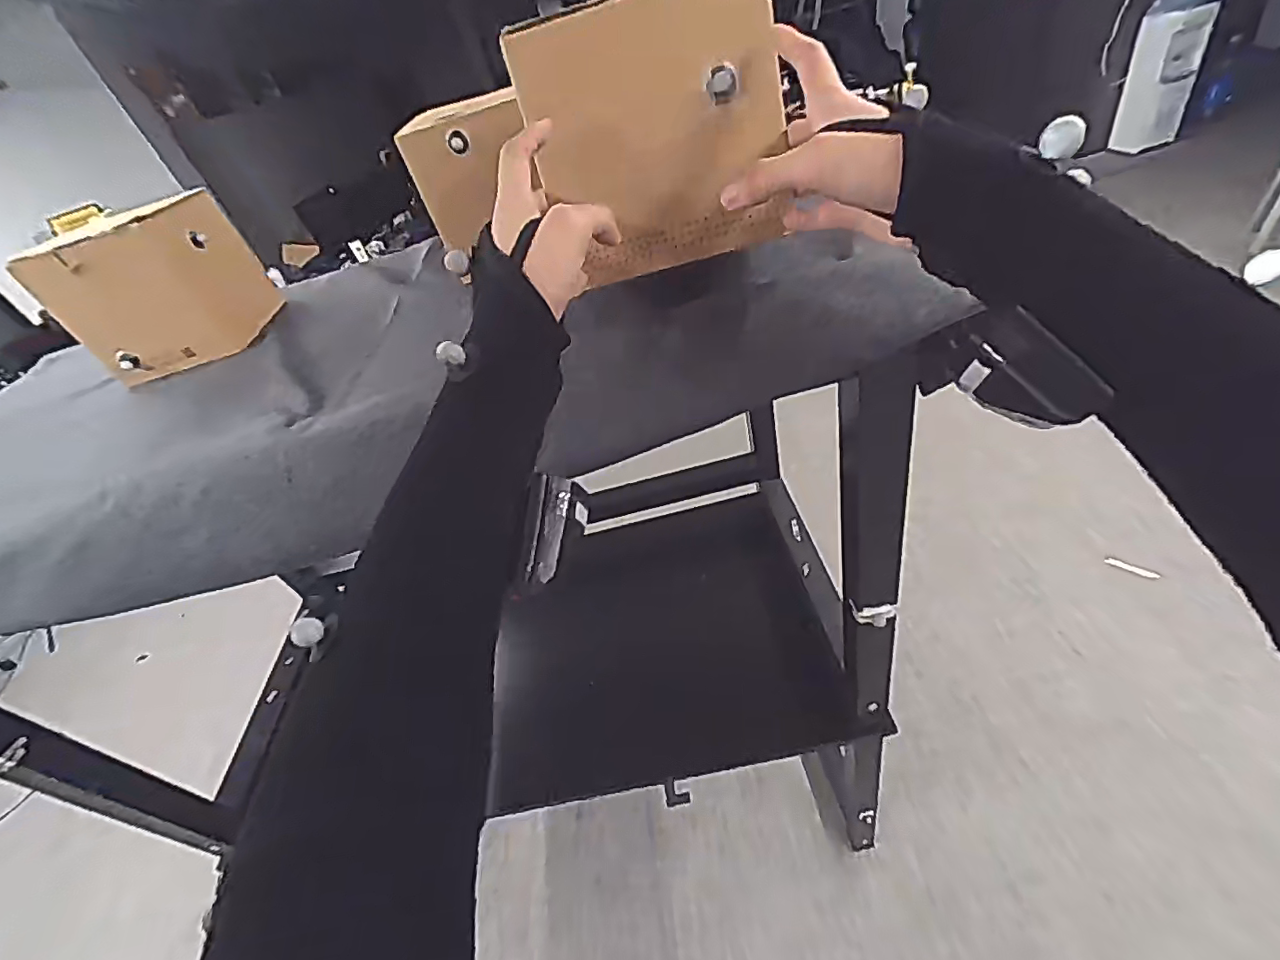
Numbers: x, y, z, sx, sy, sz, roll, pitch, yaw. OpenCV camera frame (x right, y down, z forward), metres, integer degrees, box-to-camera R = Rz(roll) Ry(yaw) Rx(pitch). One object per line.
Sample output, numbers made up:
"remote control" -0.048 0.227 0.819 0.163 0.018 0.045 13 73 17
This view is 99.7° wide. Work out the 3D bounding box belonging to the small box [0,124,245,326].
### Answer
"small box" -0.644 -0.309 0.670 0.168 0.176 0.179 -17 41 1
